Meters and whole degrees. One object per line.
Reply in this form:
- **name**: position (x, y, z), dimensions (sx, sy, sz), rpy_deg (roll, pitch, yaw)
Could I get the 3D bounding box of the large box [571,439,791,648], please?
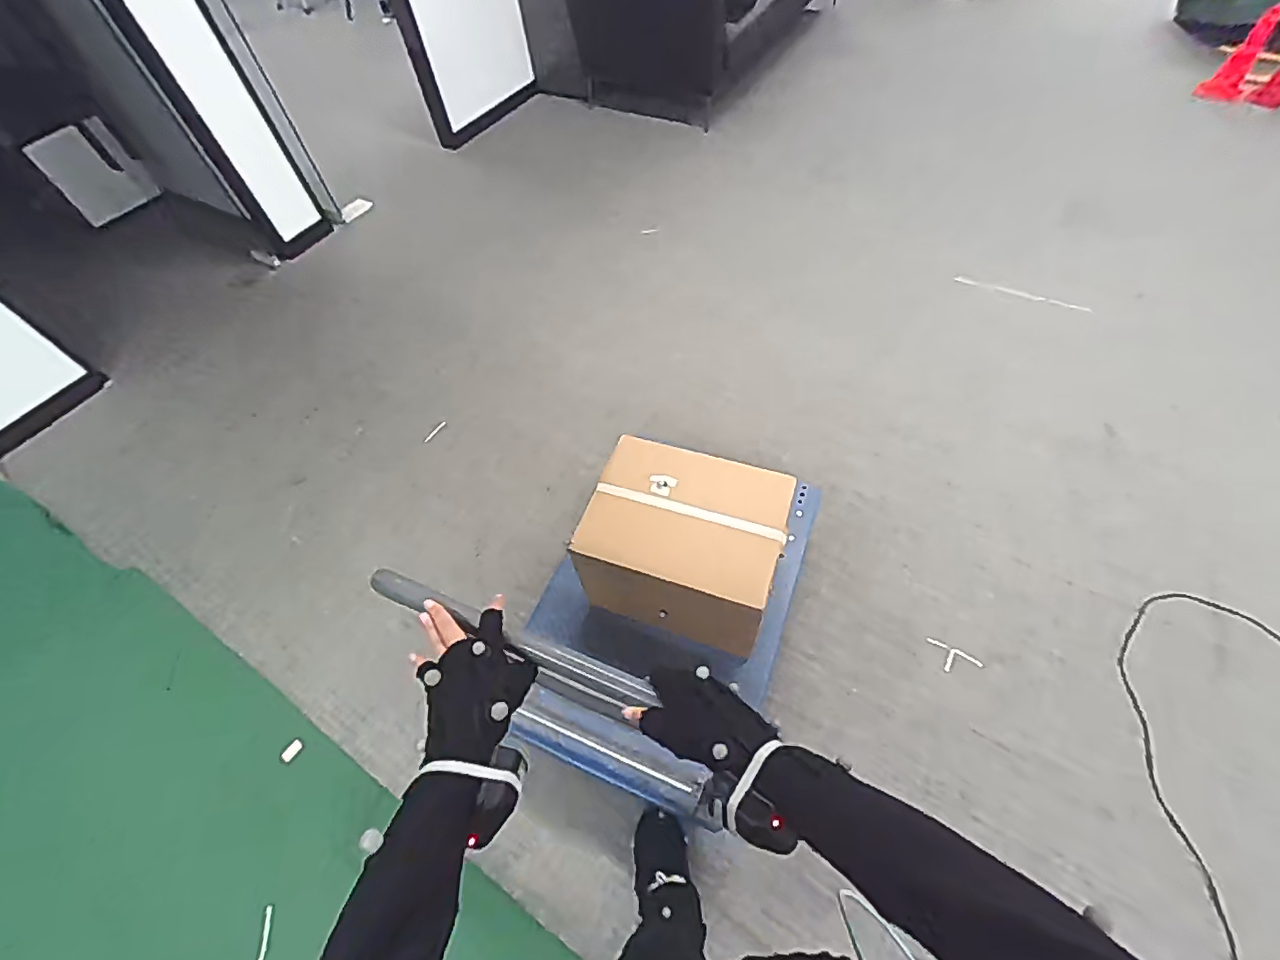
- **large box**: position (0.107, 0.150, 1.257), dimensions (0.408, 0.320, 0.320), rpy_deg (14, 58, 15)
